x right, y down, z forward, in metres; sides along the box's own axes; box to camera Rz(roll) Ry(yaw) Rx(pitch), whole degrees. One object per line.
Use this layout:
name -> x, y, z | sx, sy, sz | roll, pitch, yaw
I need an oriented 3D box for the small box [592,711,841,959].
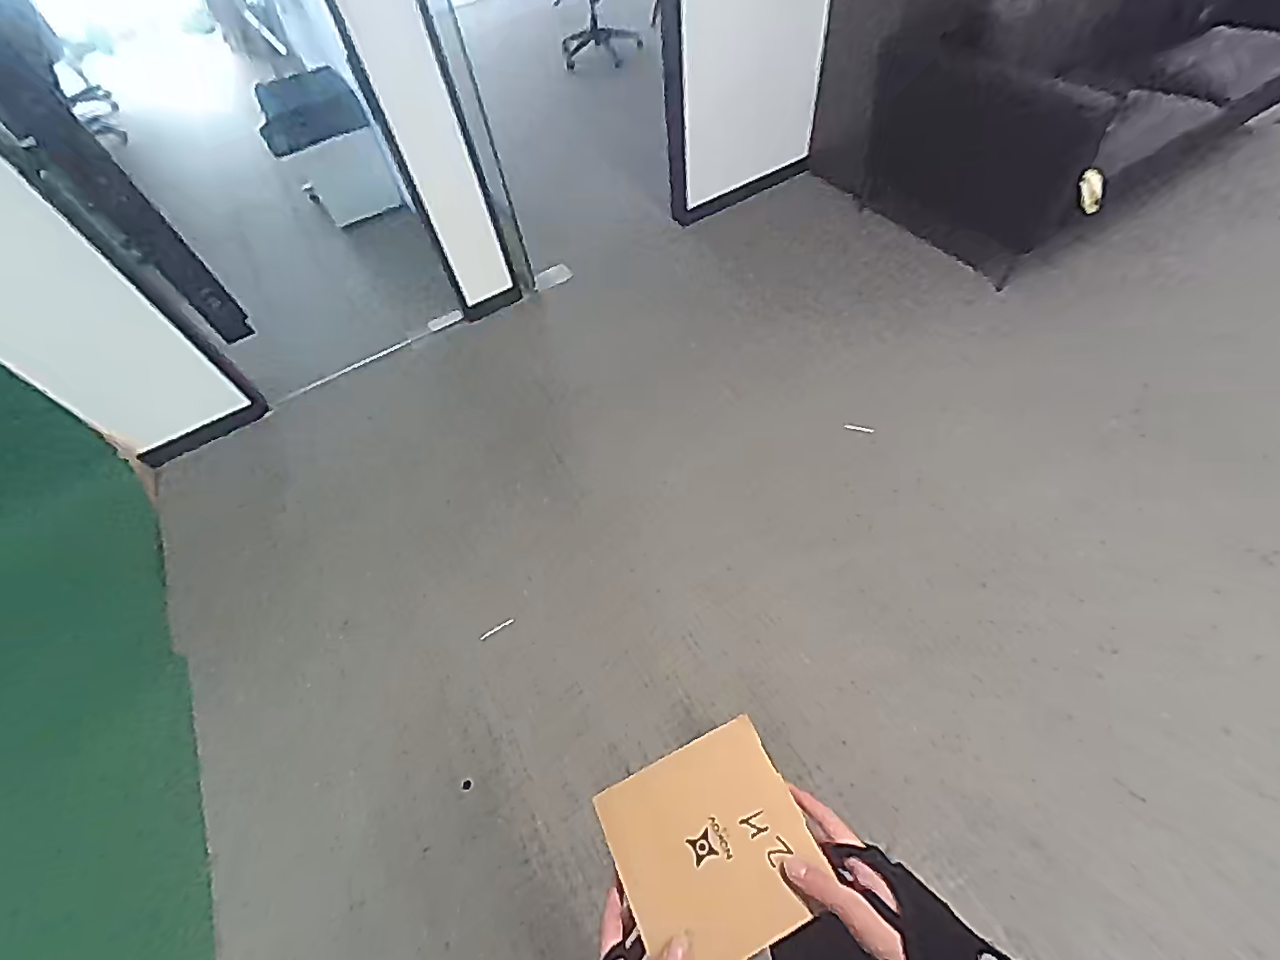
small box -> 0.073, 0.370, 0.554 | 0.179, 0.176, 0.168 | -24, 56, -9
